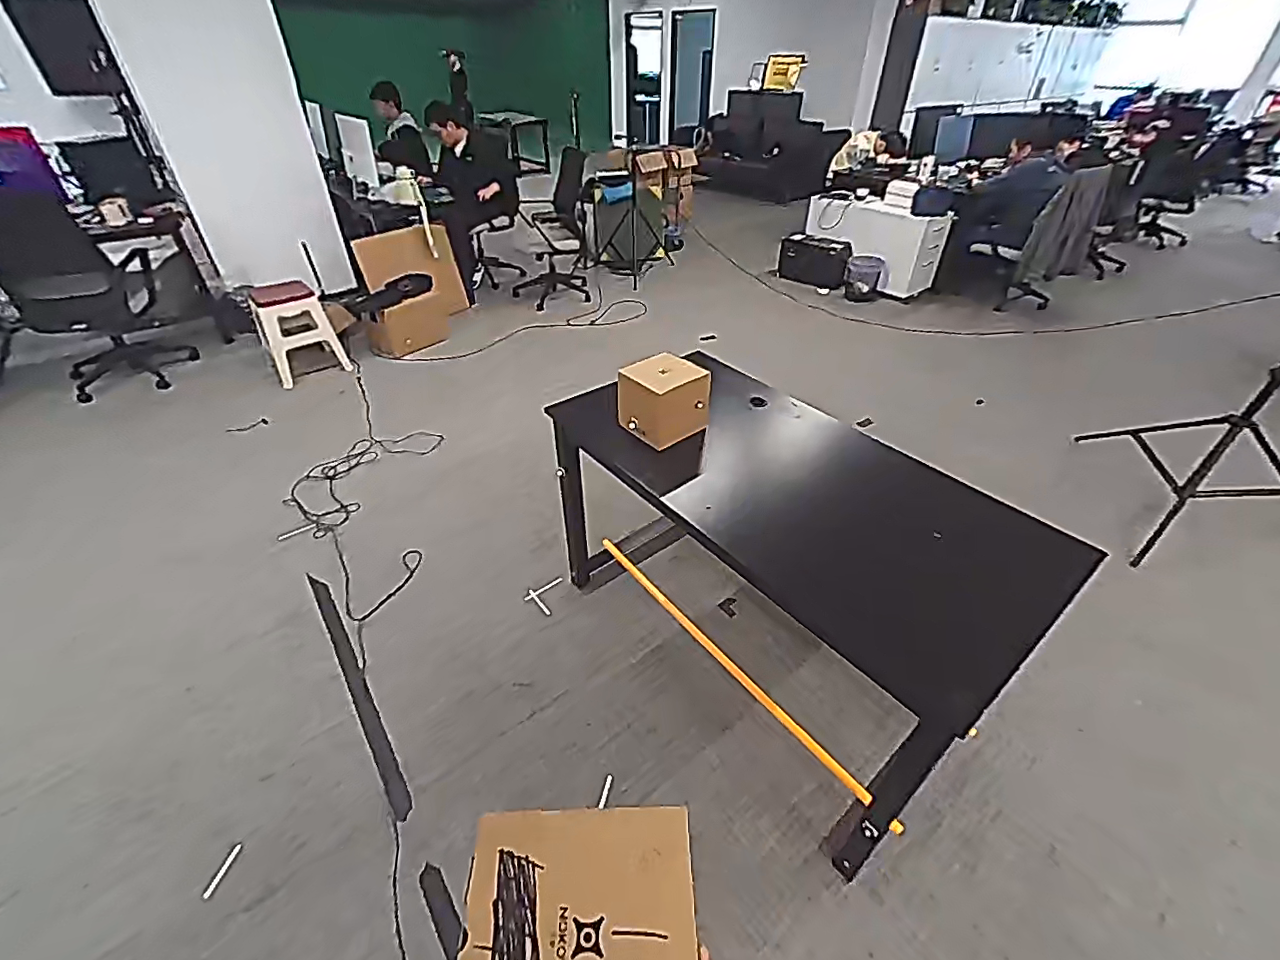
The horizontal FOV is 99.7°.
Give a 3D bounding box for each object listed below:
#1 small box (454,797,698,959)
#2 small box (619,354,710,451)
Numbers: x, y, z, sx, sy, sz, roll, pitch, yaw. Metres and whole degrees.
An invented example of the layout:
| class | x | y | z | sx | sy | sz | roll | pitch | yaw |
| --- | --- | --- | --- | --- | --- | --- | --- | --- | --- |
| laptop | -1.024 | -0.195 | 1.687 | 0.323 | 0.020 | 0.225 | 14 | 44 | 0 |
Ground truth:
| class | x | y | z | sx | sy | sz | roll | pitch | yaw |
| --- | --- | --- | --- | --- | --- | --- | --- | --- | --- |
| small box | -0.043 | 0.385 | 0.448 | 0.179 | 0.176 | 0.168 | -2 | 41 | 0 |
| small box | 0.061 | -0.204 | 1.414 | 0.179 | 0.176 | 0.168 | -29 | 46 | -31 |
